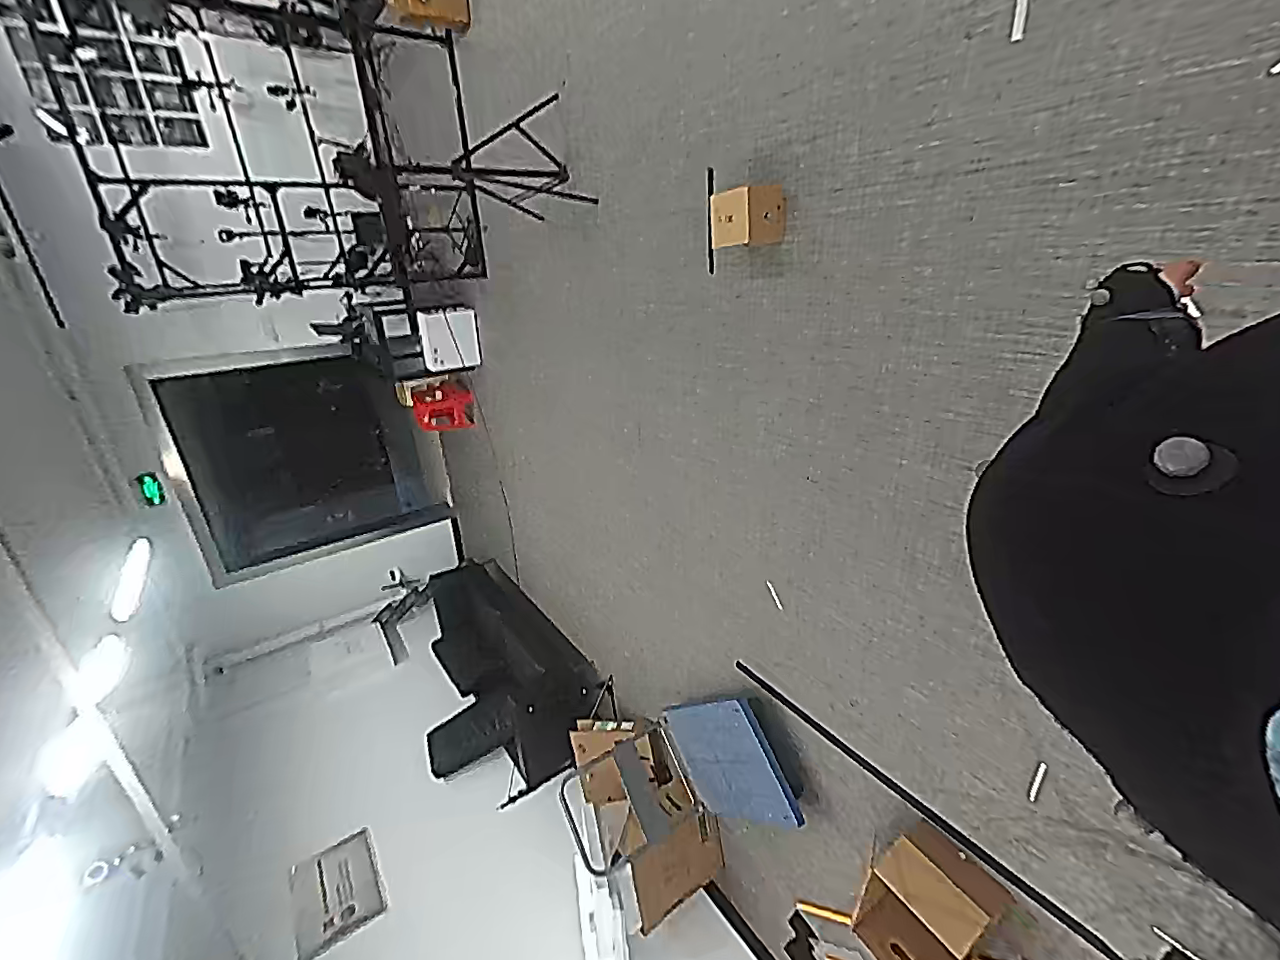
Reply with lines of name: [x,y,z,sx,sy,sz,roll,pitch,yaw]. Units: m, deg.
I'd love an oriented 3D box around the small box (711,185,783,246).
small box: [0.358,-0.877,1.796,0.179,0.176,0.168,23,124,53]
